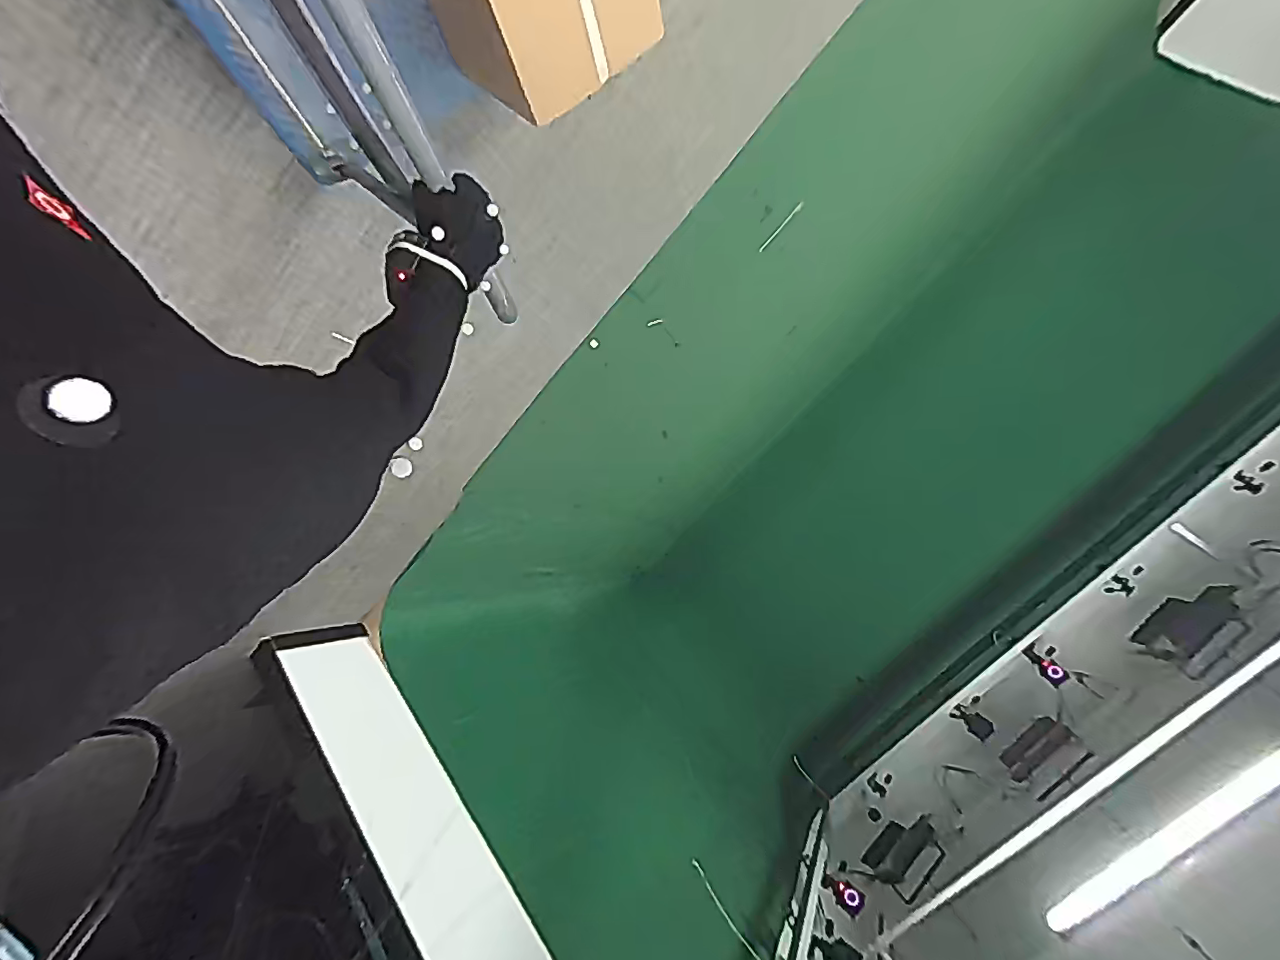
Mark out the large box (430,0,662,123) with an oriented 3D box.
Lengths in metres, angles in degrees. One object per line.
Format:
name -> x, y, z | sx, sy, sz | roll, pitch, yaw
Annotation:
large box -> -0.207, -0.923, 0.897 | 0.320, 0.320, 0.408 | -41, 154, -6
